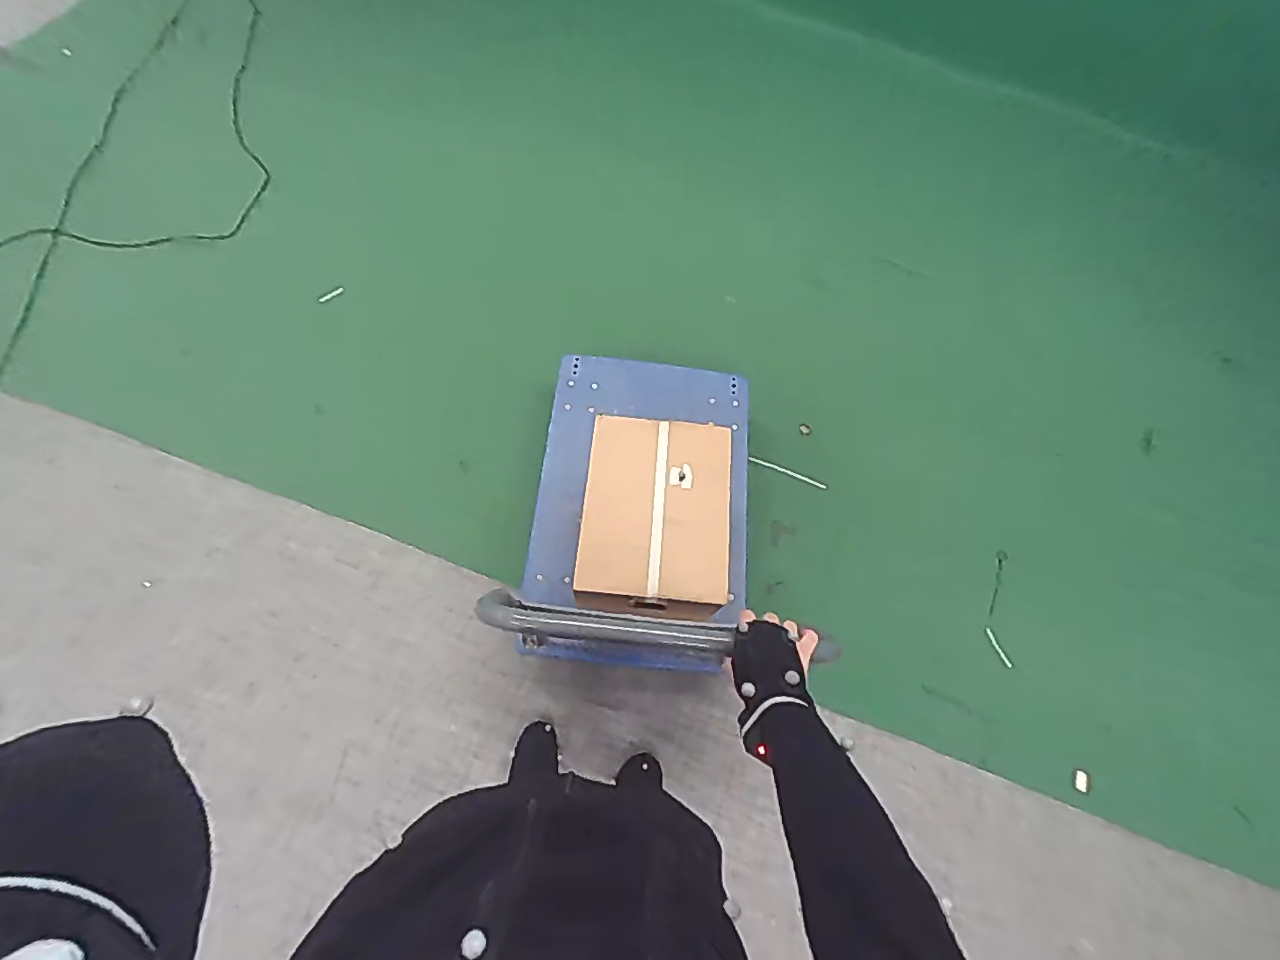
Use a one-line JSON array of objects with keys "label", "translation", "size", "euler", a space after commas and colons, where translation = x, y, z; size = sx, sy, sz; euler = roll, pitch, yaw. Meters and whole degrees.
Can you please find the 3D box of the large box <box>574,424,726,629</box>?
[{"label": "large box", "translation": [0.024, 0.126, 1.300], "size": [0.320, 0.320, 0.408], "euler": [6, 66, -2]}]
